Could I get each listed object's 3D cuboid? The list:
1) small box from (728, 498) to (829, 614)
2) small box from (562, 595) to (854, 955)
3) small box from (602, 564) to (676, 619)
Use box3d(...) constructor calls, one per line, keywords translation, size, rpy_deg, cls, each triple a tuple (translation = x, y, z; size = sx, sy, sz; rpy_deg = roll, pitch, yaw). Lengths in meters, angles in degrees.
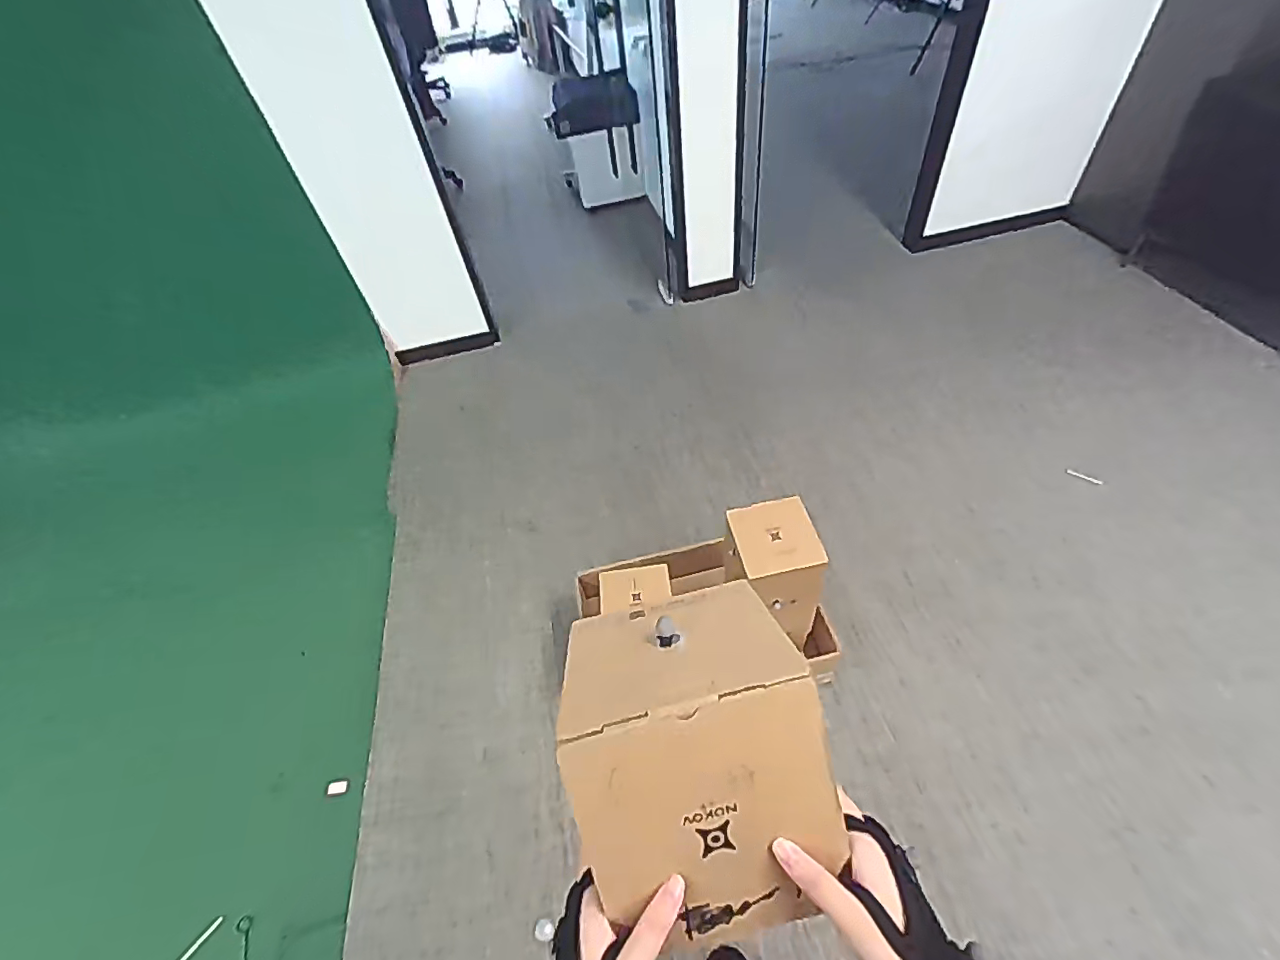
box3d(translation=(0.289, 0.168, 1.171), size=(0.168, 0.176, 0.179), rpy_deg=(-11, 49, 0), cls="small box")
box3d(translation=(0.043, 0.205, 0.429), size=(0.168, 0.179, 0.176), rpy_deg=(-14, 9, 0), cls="small box")
box3d(translation=(0.005, 0.327, 1.289), size=(0.168, 0.176, 0.179), rpy_deg=(-8, 48, 1), cls="small box")
